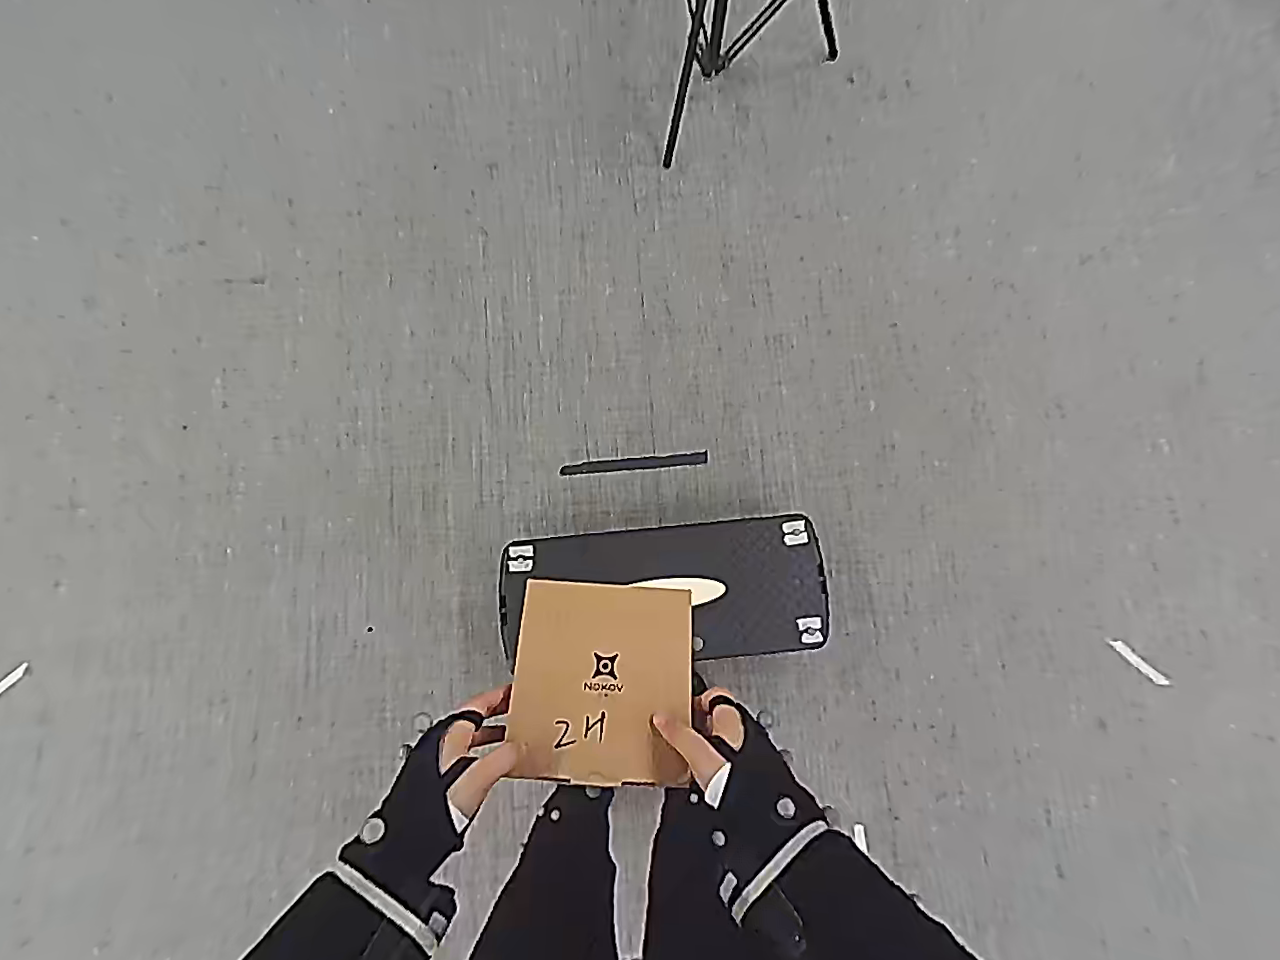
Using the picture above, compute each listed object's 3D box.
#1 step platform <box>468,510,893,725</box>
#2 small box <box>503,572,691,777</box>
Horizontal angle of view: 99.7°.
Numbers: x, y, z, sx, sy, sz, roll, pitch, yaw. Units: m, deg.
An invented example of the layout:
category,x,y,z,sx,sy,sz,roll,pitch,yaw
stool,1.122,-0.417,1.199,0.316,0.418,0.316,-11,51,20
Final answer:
category,x,y,z,sx,sy,sz,roll,pitch,yaw
step platform,0.062,0.235,0.962,0.684,0.204,0.286,-6,80,-2
small box,-0.040,0.212,0.575,0.168,0.176,0.179,4,63,-2
